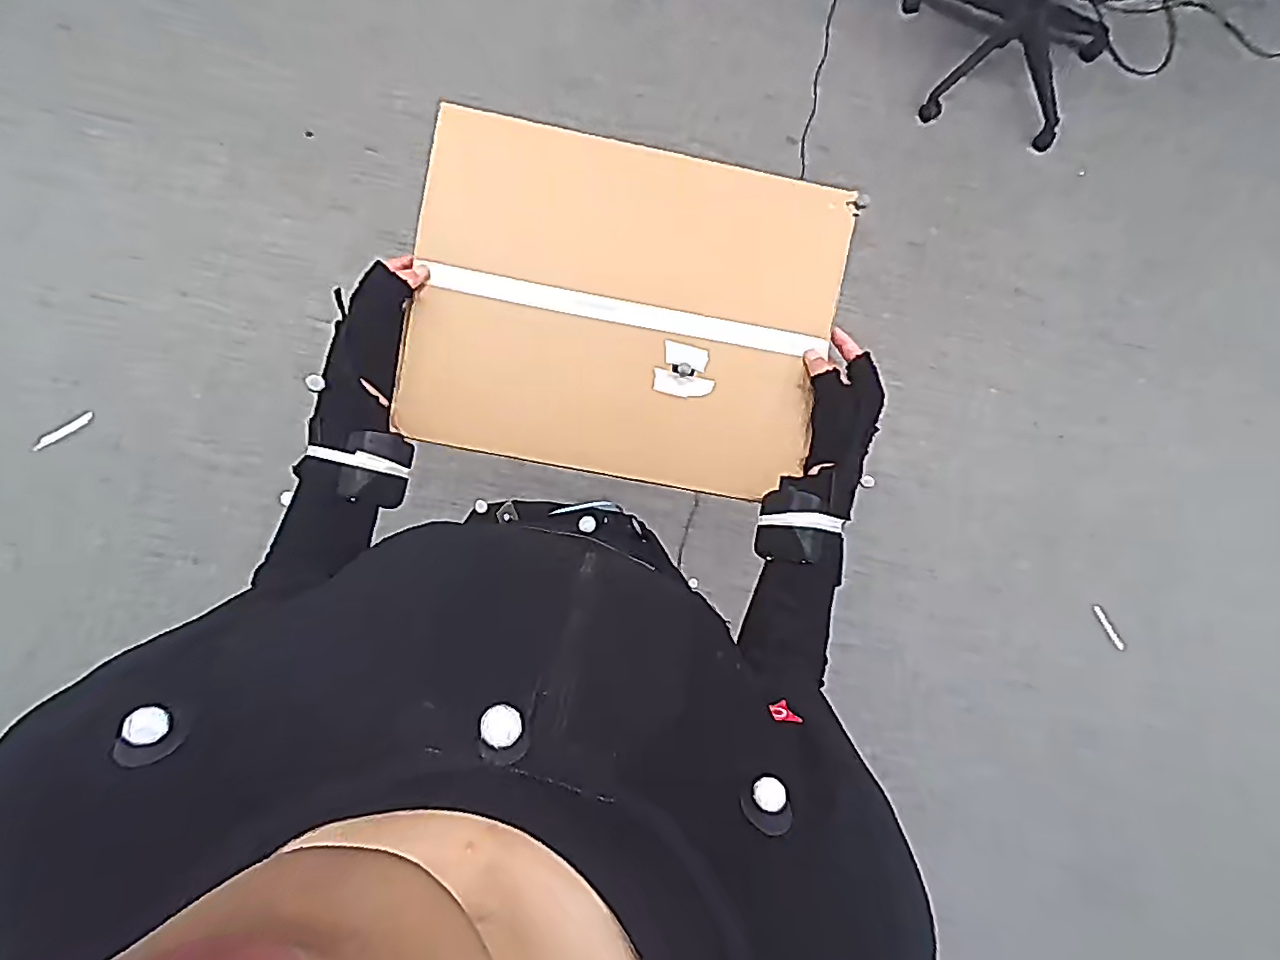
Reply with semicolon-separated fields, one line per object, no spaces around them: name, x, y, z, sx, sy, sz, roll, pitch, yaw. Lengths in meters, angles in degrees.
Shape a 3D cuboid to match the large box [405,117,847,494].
large box;-0.023;-0.174;0.682;0.408;0.320;0.320;10;93;-4
